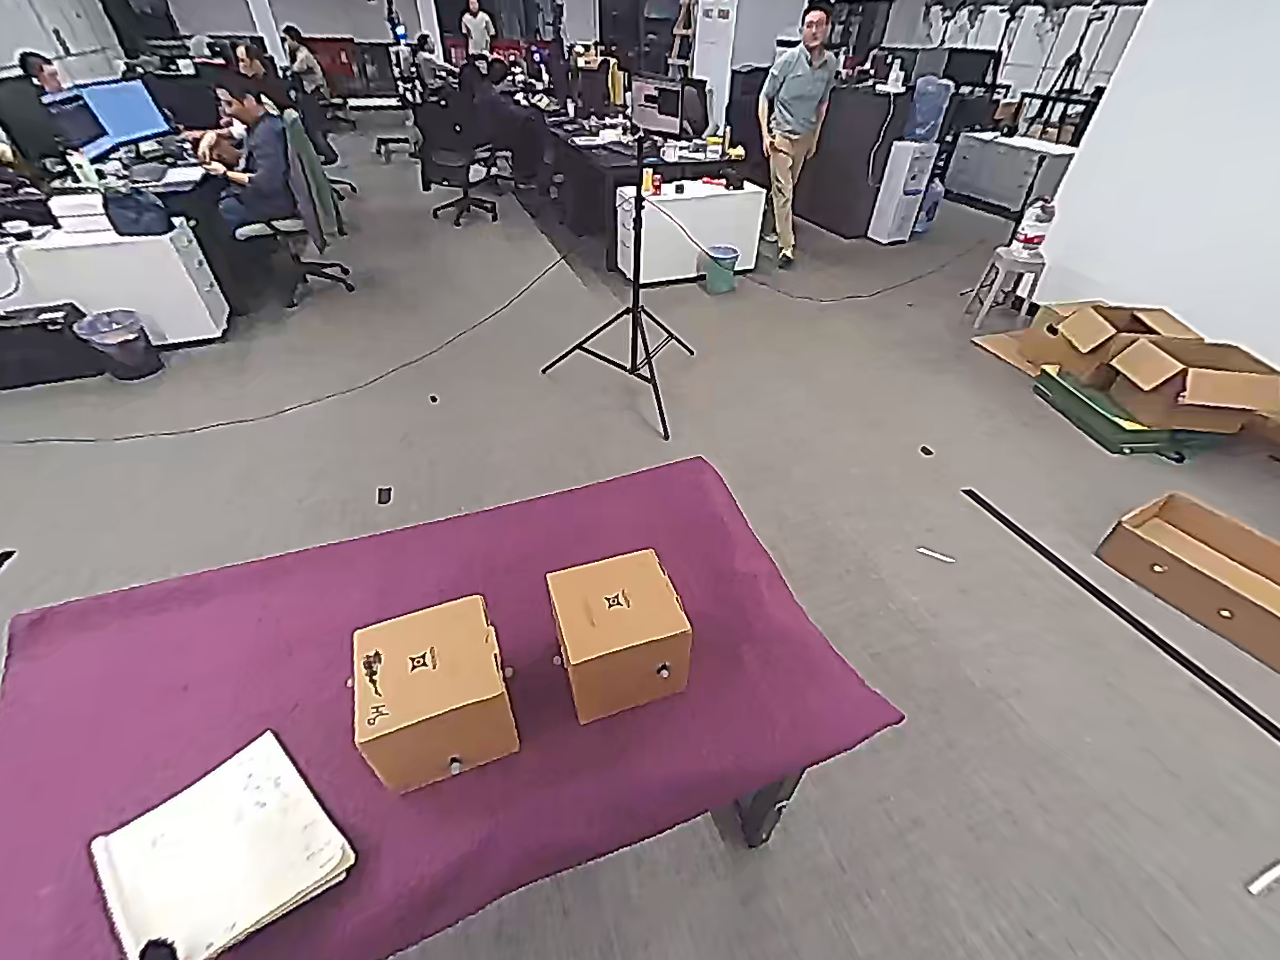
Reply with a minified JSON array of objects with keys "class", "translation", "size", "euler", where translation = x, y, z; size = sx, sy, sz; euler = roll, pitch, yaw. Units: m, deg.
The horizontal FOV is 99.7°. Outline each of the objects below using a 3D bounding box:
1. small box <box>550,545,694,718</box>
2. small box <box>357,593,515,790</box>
[{"class":"small box","translation":[-0.031,0.232,0.835],"size":[0.179,0.176,0.168],"euler":[-13,40,-14]},{"class":"small box","translation":[-0.278,0.292,0.755],"size":[0.179,0.176,0.168],"euler":[-14,42,-18]}]
